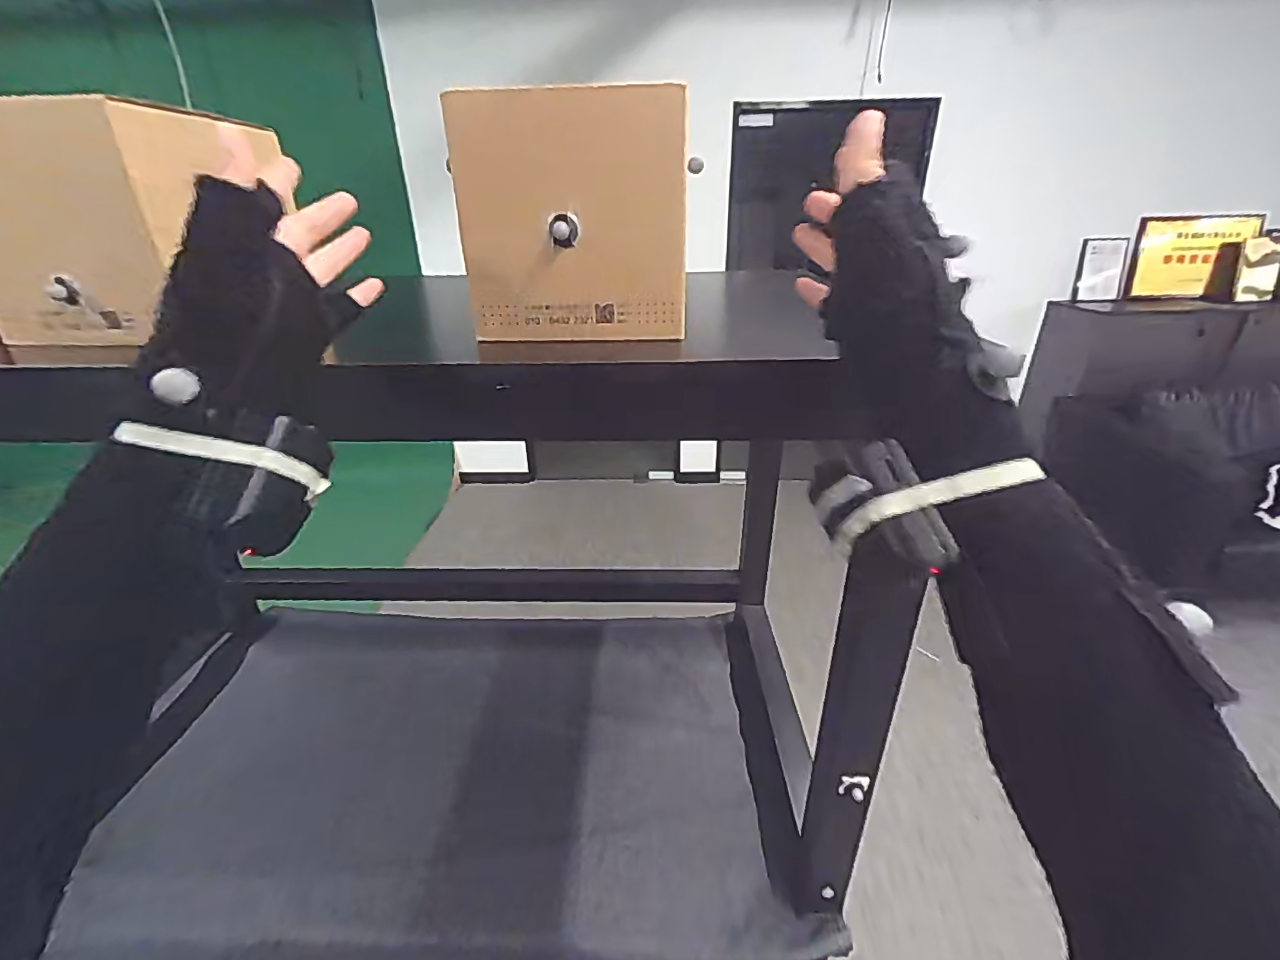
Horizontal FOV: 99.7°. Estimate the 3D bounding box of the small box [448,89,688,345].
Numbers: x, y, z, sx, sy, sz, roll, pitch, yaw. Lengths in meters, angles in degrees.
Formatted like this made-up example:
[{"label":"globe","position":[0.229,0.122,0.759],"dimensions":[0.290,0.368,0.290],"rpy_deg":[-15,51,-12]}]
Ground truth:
[{"label":"small box","position":[-0.042,-0.216,0.465],"dimensions":[0.168,0.176,0.179],"rpy_deg":[1,26,3]}]
